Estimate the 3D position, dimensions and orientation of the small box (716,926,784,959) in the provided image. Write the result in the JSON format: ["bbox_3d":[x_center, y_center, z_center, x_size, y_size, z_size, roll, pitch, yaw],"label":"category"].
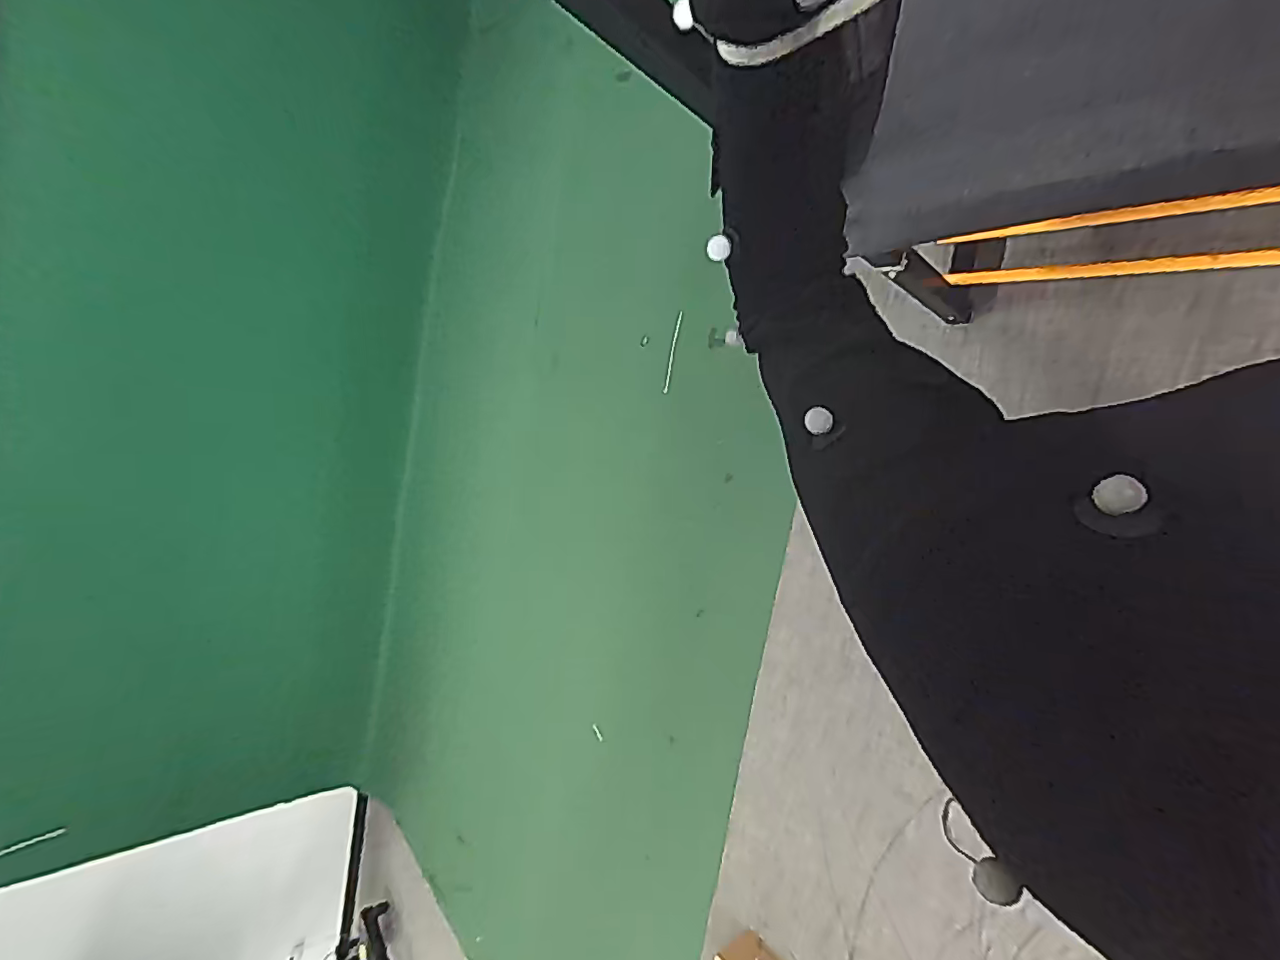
[{"bbox_3d":[0.331,1.506,1.623,0.168,0.176,0.179,17,99,47],"label":"small box"}]
